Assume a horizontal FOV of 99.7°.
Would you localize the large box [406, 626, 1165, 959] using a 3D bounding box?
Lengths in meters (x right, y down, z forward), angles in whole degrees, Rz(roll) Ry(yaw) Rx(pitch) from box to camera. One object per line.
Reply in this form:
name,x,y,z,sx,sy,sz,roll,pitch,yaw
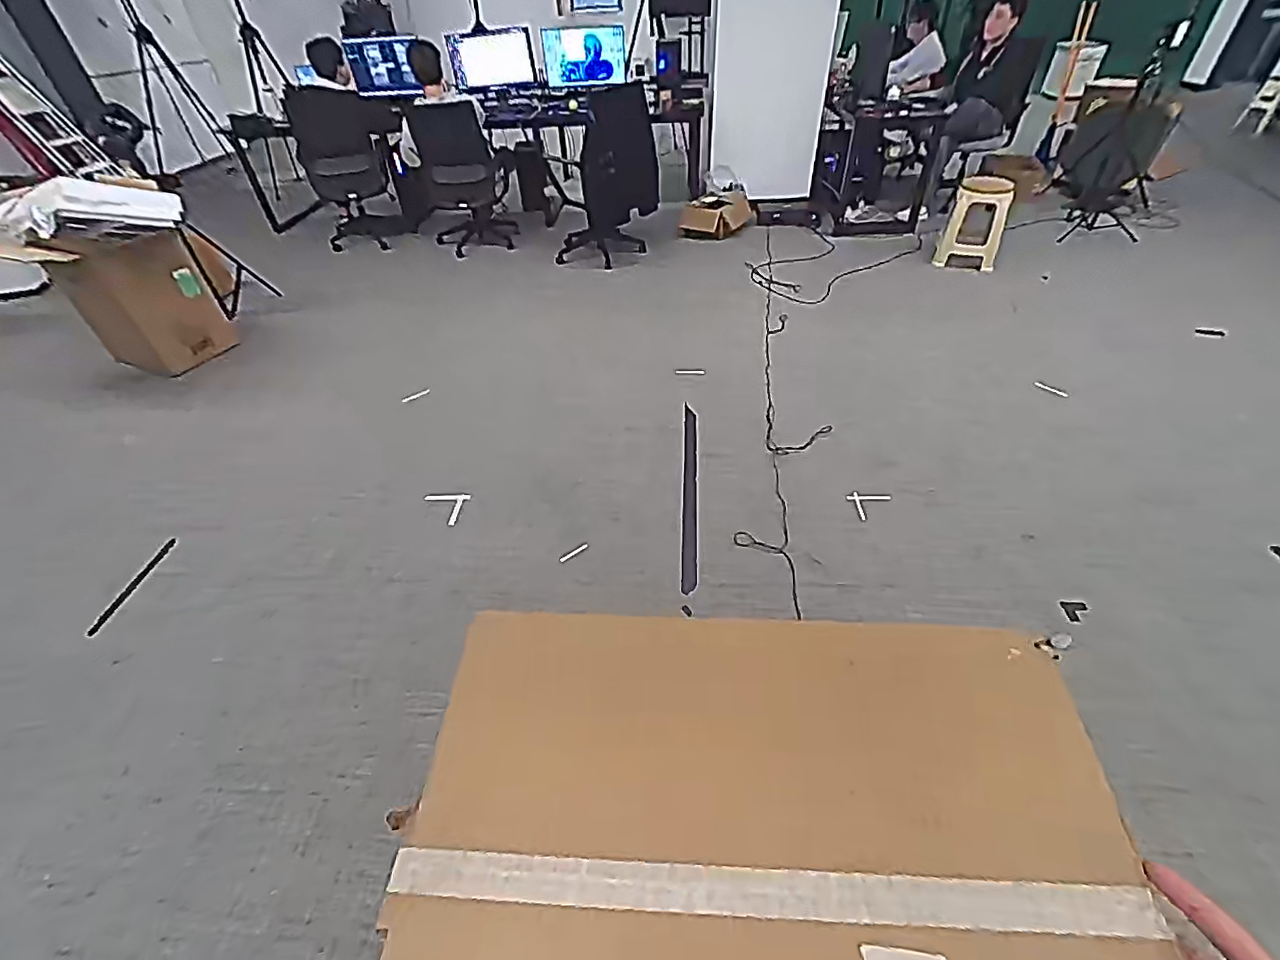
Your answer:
large box,0.077,0.323,0.419,0.408,0.320,0.320,1,52,3
